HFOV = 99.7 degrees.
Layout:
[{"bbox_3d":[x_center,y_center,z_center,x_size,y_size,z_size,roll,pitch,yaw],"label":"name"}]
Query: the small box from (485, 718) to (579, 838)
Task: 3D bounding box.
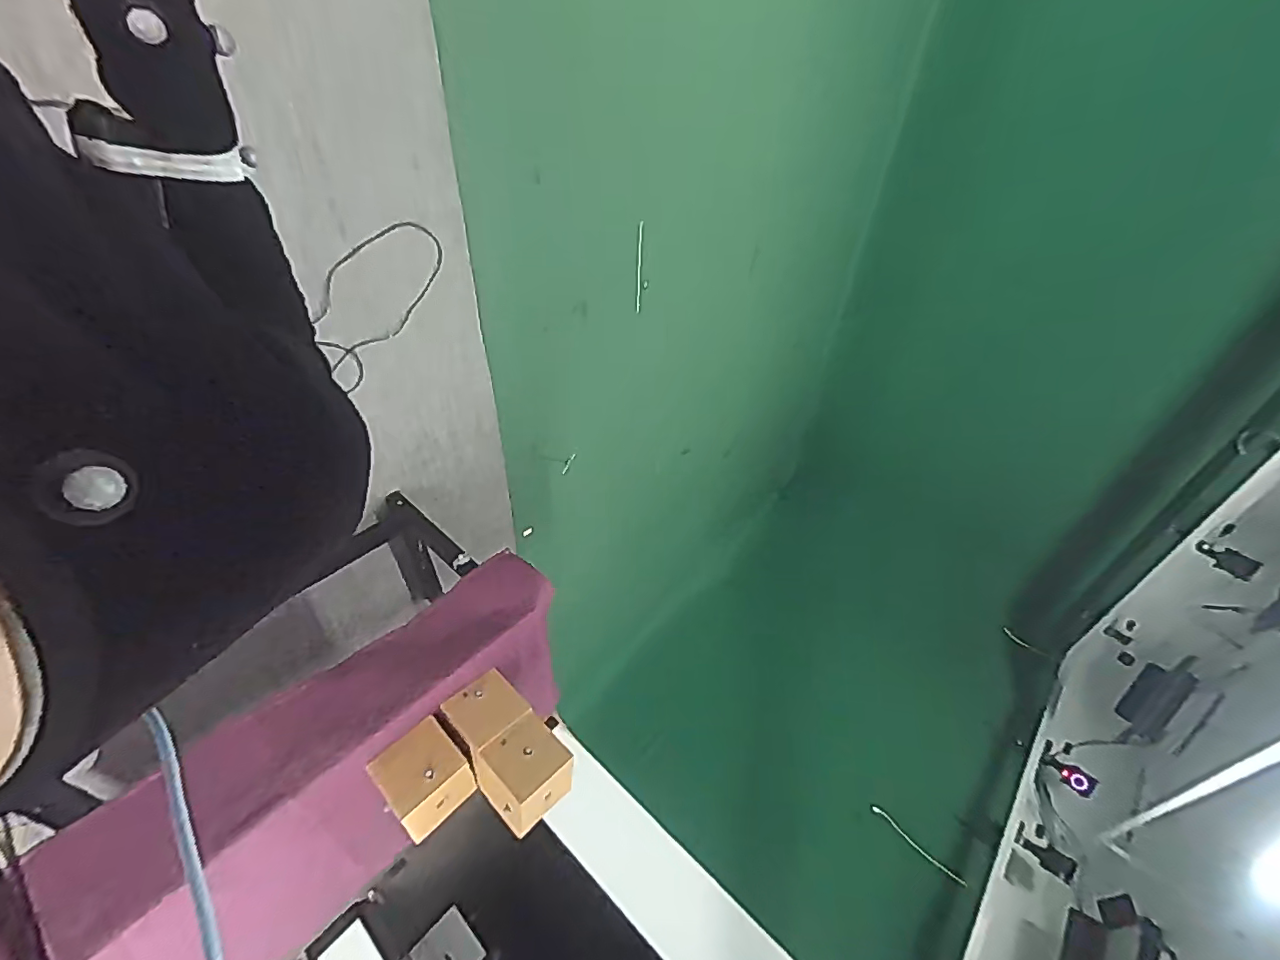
[{"bbox_3d":[-0.272,0.733,1.354,0.168,0.176,0.179,-28,138,-42],"label":"small box"}]
